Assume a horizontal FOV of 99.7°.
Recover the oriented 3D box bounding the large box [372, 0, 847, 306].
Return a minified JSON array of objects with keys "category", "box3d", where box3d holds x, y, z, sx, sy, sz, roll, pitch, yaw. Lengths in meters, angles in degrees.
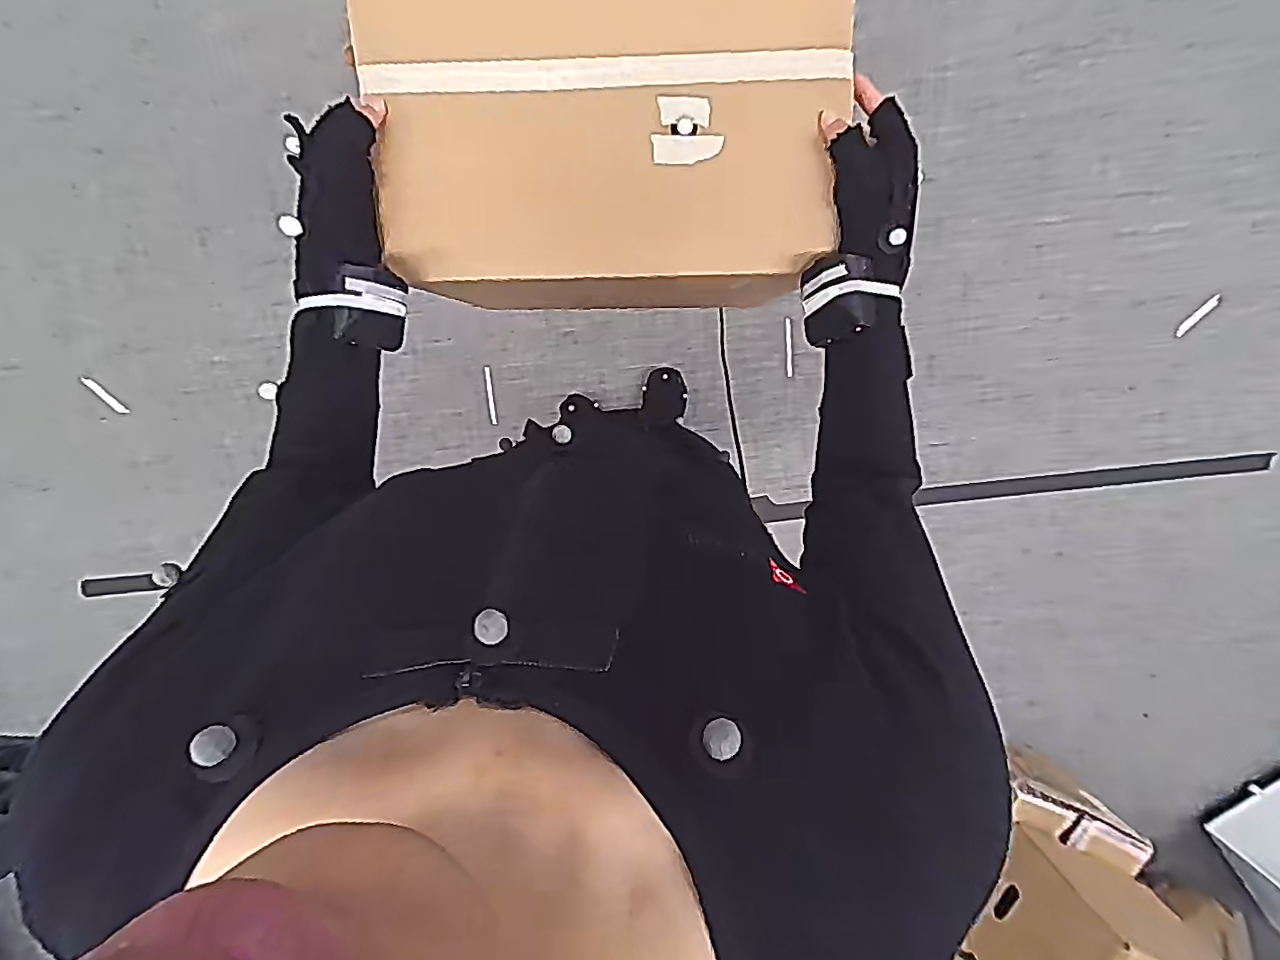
[{"category":"large box","box3d":[-0.025,-0.377,0.608,0.408,0.320,0.320,-1,104,1]}]
